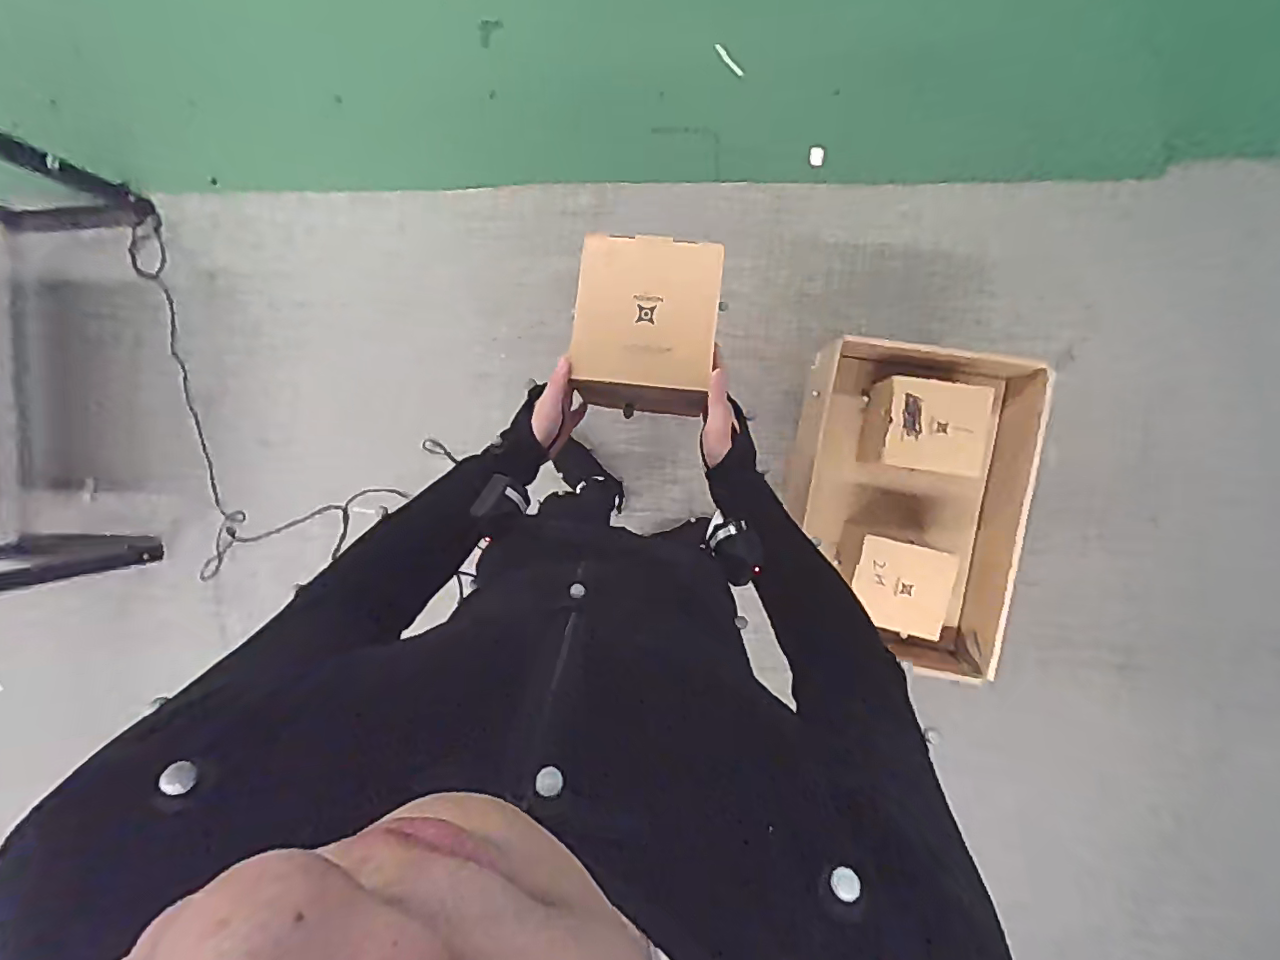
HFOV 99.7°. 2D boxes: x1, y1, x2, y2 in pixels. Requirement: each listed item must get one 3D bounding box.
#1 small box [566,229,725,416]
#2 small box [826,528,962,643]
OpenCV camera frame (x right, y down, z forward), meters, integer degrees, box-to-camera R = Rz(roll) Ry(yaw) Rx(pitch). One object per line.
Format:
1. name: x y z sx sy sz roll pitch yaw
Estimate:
1. small box: 0.009 -0.188 0.687 0.168 0.176 0.179 6 88 3
2. small box: 0.494 0.199 1.077 0.179 0.176 0.168 14 94 5
